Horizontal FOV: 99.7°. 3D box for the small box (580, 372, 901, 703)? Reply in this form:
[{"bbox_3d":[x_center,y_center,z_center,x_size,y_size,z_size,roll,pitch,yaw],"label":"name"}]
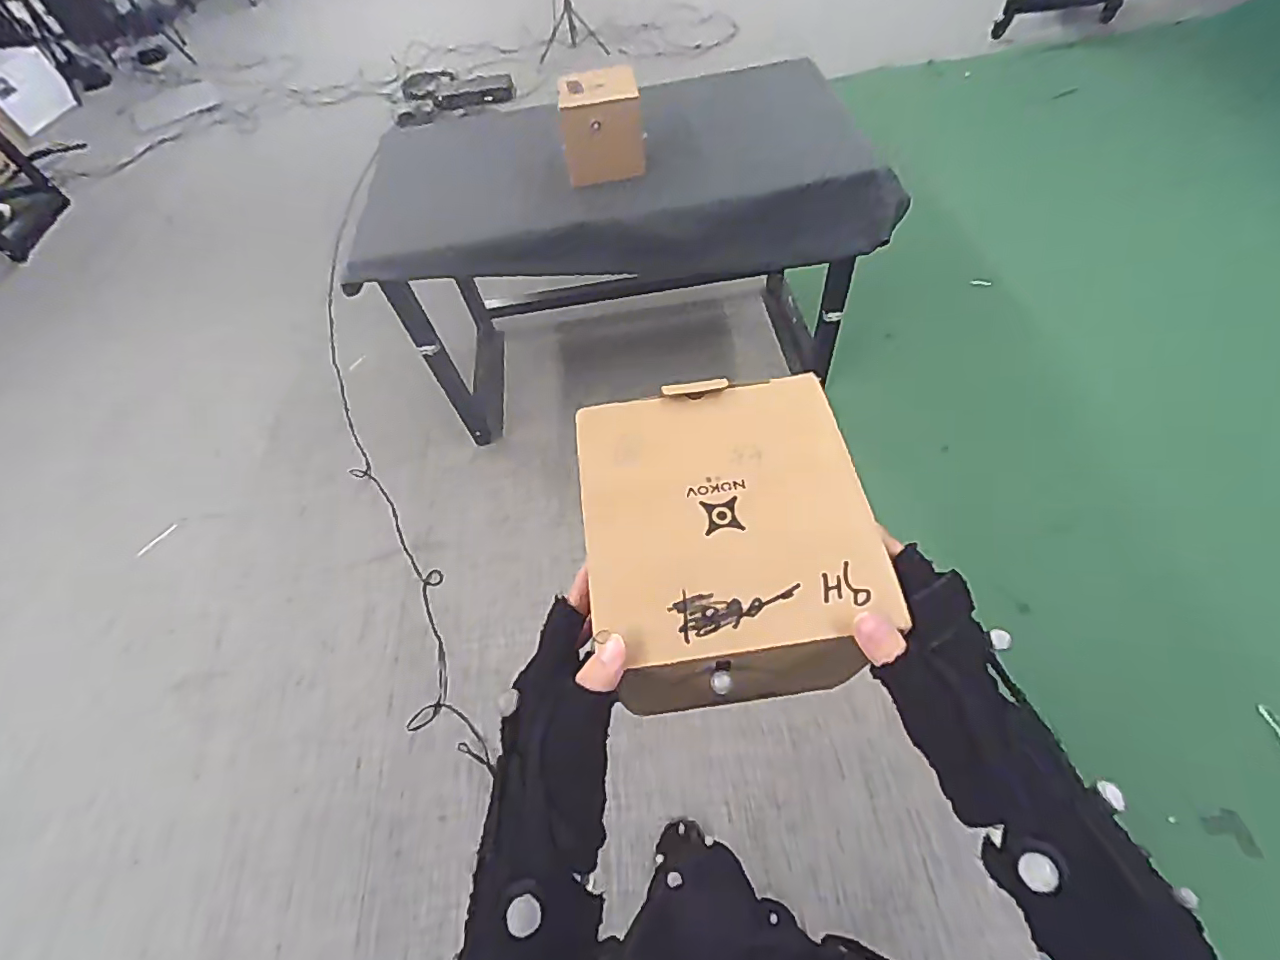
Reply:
[{"bbox_3d":[0.055,0.050,0.403,0.168,0.176,0.179,-10,59,-1],"label":"small box"}]

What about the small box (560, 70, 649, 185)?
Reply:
[{"bbox_3d":[-0.081,-0.812,1.256,0.179,0.176,0.168,-8,56,1],"label":"small box"}]
